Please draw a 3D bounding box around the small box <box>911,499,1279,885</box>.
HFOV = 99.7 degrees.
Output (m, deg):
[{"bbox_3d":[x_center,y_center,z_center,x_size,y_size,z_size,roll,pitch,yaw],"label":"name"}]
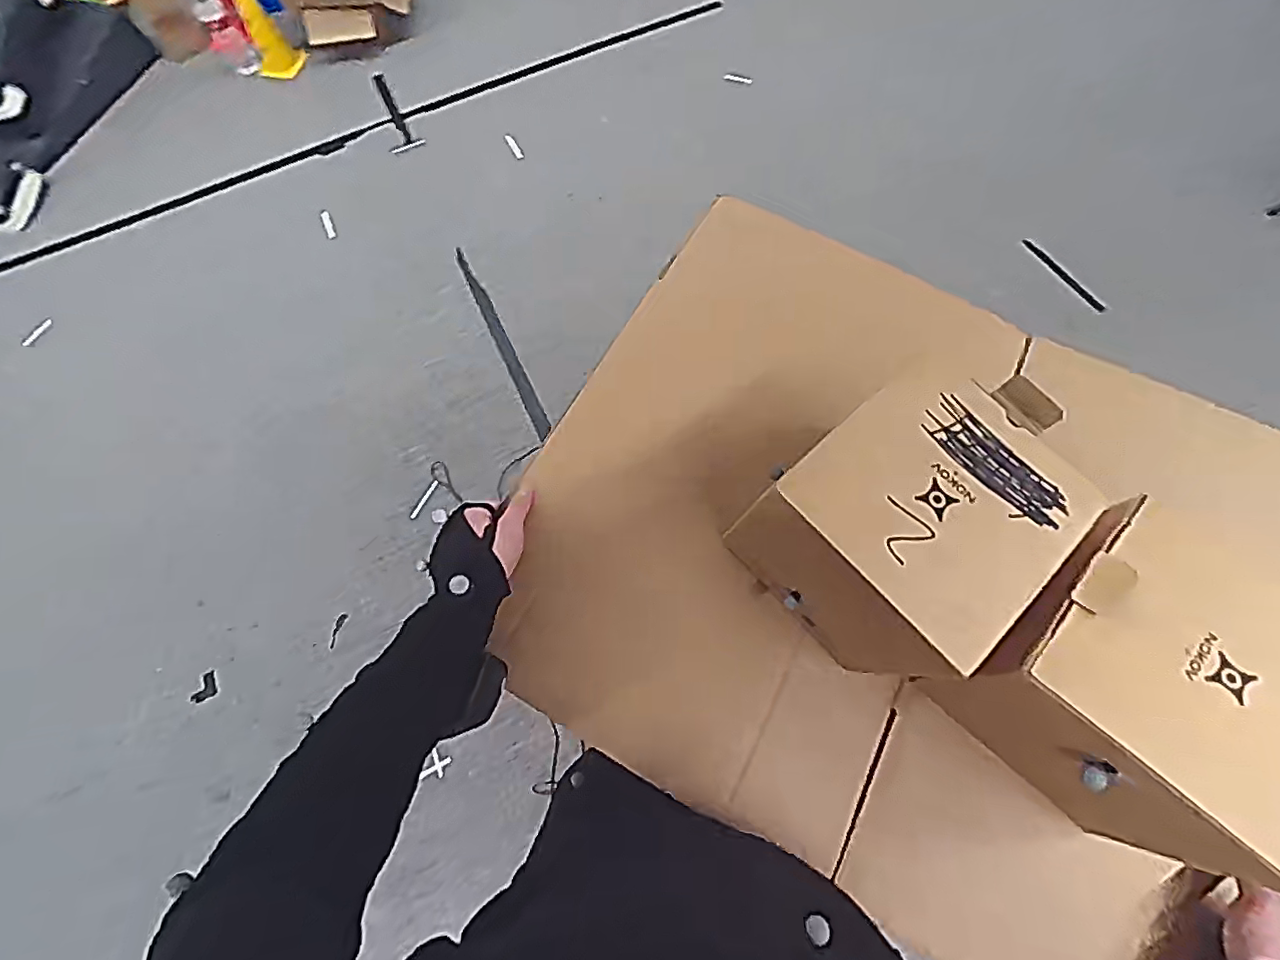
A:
[{"bbox_3d":[0.357,0.149,0.419,0.179,0.176,0.168,40,75,17],"label":"small box"}]
